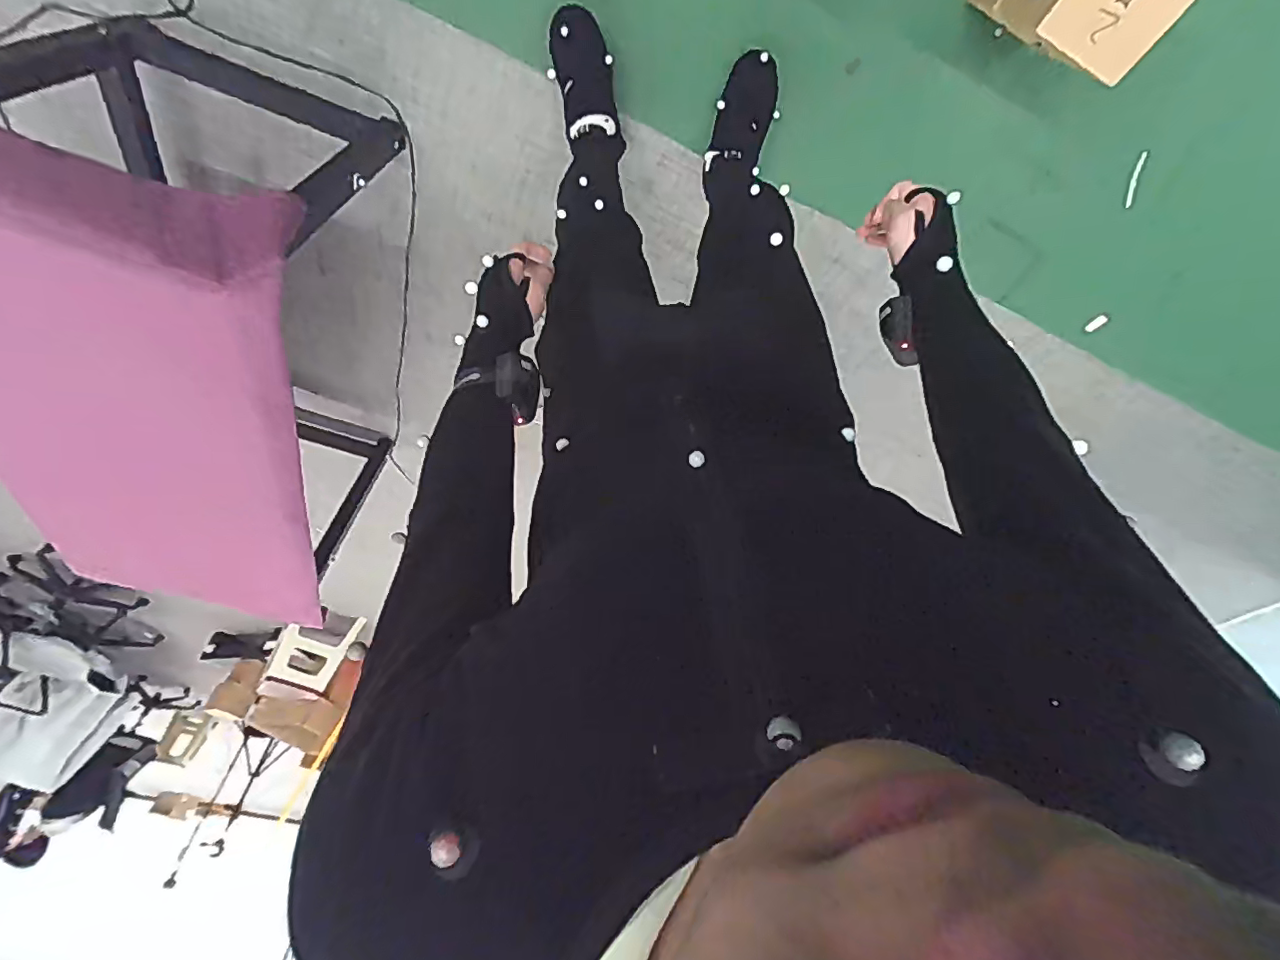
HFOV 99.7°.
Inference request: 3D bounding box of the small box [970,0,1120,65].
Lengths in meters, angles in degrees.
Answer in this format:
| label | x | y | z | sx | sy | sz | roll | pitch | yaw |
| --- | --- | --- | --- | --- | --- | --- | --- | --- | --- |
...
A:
| label | x | y | z | sx | sy | sz | roll | pitch | yaw |
| --- | --- | --- | --- | --- | --- | --- | --- | --- | --- |
| small box | 0.699 | -0.852 | 0.904 | 0.168 | 0.176 | 0.179 | 21 | 137 | -15 |
